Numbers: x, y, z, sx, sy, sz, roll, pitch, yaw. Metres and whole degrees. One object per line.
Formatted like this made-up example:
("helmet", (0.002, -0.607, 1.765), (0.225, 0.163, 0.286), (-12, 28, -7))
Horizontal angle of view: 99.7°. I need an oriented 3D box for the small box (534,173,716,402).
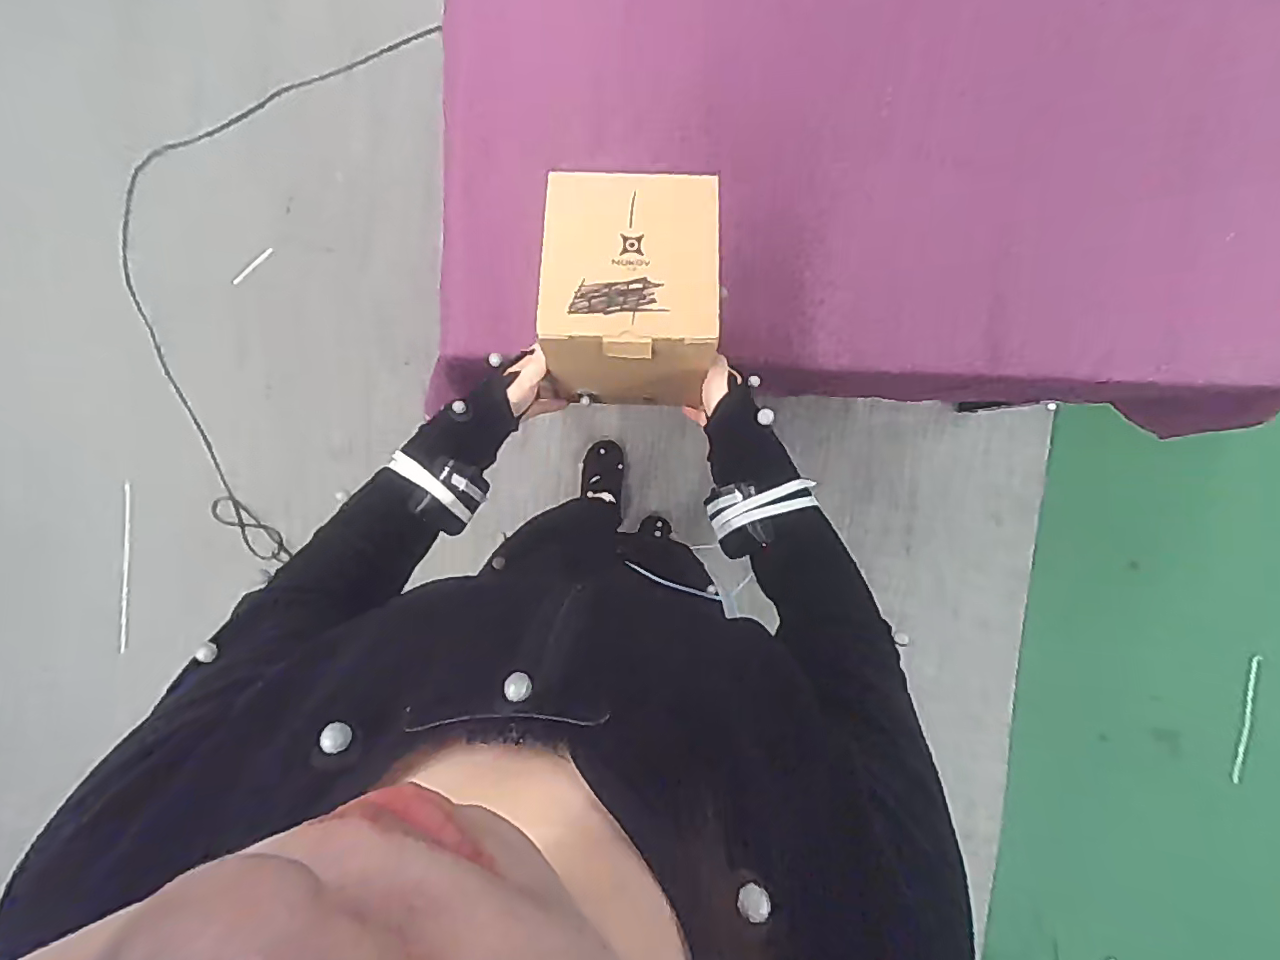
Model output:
("small box", (-0.011, -0.193, 0.582), (0.168, 0.176, 0.179), (2, 76, 0))
